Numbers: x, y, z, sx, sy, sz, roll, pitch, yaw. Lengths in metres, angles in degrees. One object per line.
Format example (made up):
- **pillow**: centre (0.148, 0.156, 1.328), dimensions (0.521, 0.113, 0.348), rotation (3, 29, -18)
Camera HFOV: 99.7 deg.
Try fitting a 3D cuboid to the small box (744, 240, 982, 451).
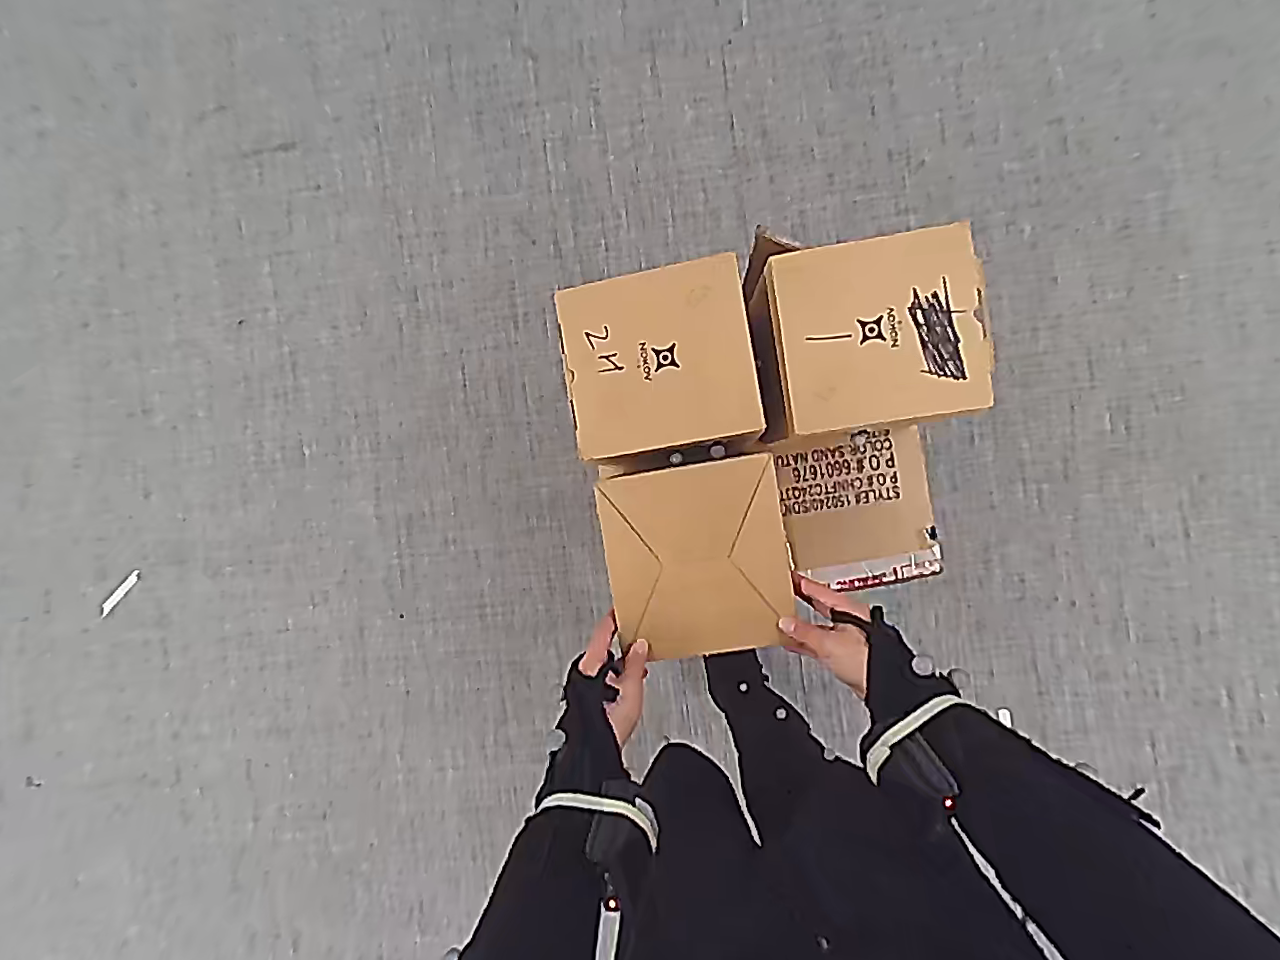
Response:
- **small box**: centre (0.215, -0.124, 0.566), dimensions (0.179, 0.176, 0.168), rotation (-8, 89, 5)
